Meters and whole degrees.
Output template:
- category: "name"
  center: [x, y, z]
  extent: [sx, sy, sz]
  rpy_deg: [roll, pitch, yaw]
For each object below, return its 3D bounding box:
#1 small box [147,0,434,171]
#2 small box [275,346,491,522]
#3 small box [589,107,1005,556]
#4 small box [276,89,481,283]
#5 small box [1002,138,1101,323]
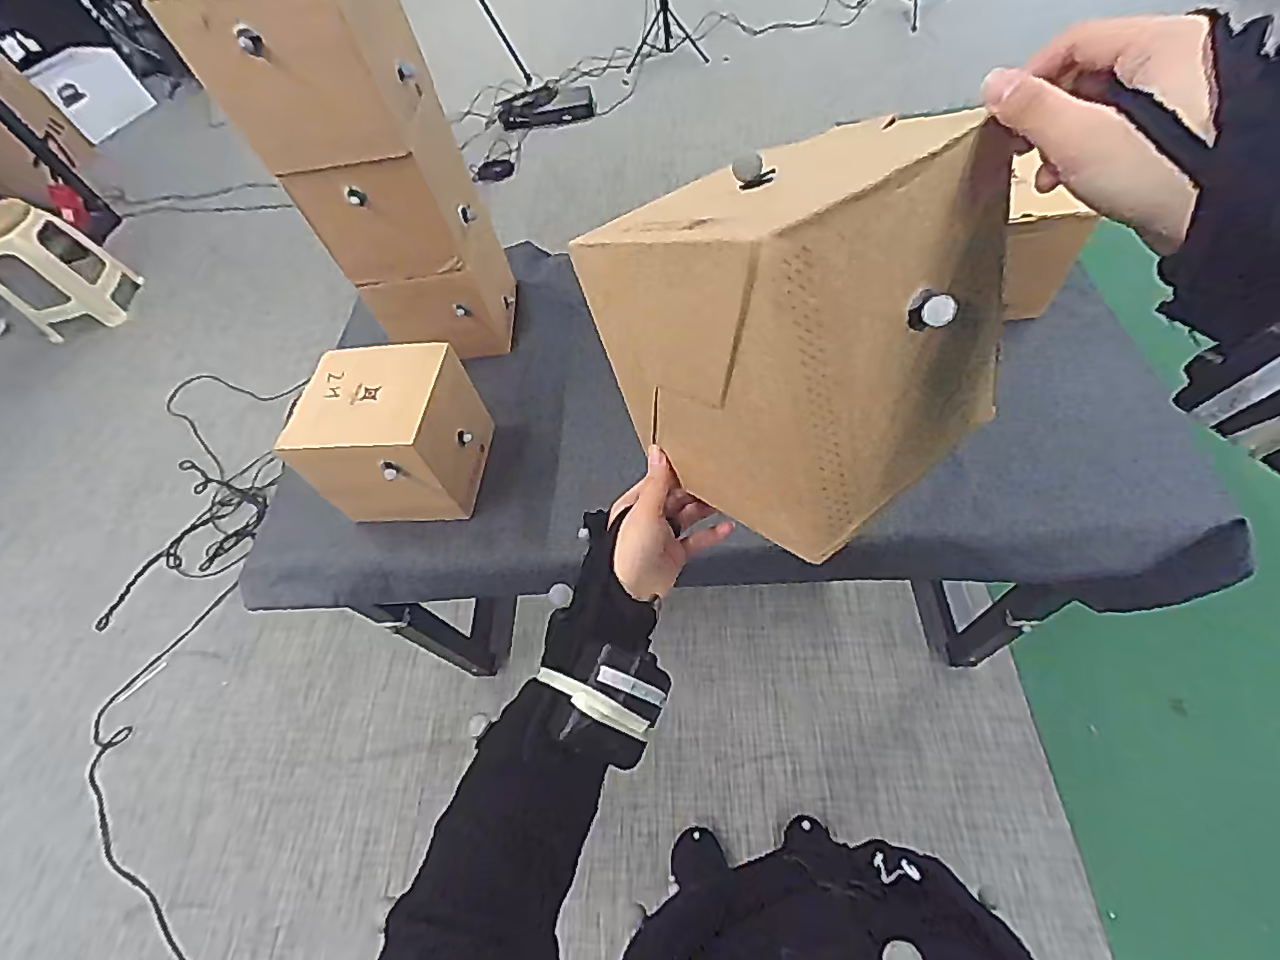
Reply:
- category: "small box"
  center: [-0.356, -0.467, 0.593]
  extent: [0.179, 0.176, 0.168]
  rpy_deg: [-4, 60, 5]
- category: "small box"
  center: [-0.317, -0.054, 0.713]
  extent: [0.179, 0.176, 0.168]
  rpy_deg: [-2, 55, 8]
- category: "small box"
  center: [0.089, -0.087, 0.332]
  extent: [0.176, 0.179, 0.168]
  rpy_deg: [-32, 33, -17]
- category: "small box"
  center: [-0.338, -0.391, 0.737]
  extent: [0.179, 0.176, 0.168]
  rpy_deg: [-6, 60, 4]
- category: "small box"
  center: [0.482, -0.342, 0.761]
  extent: [0.168, 0.176, 0.179]
  rpy_deg: [-1, 60, 9]
